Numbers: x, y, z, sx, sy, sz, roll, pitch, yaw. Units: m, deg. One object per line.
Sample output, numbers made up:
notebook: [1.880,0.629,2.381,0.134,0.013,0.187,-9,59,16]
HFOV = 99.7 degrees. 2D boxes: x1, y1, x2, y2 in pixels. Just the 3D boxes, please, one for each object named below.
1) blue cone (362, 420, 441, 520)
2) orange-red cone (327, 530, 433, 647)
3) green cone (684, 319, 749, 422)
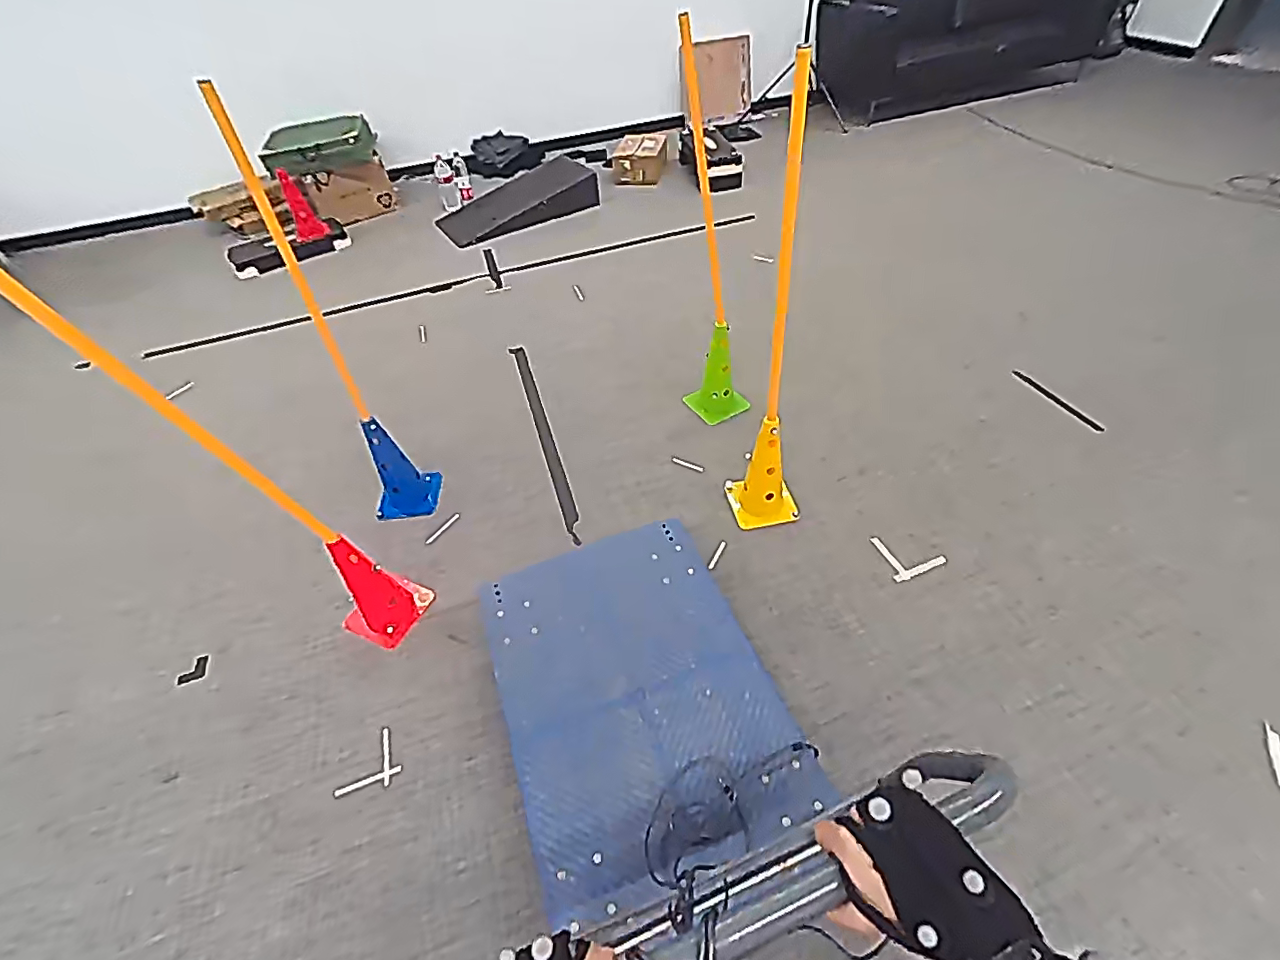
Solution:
blue cone: [-0.810,-0.051,1.770,0.193,0.380,0.192,-6,48,0]
orange-red cone: [-0.743,0.258,1.458,0.198,0.360,0.199,18,50,20]
green cone: [0.288,-0.426,1.992,0.200,0.368,0.202,-28,52,-19]
